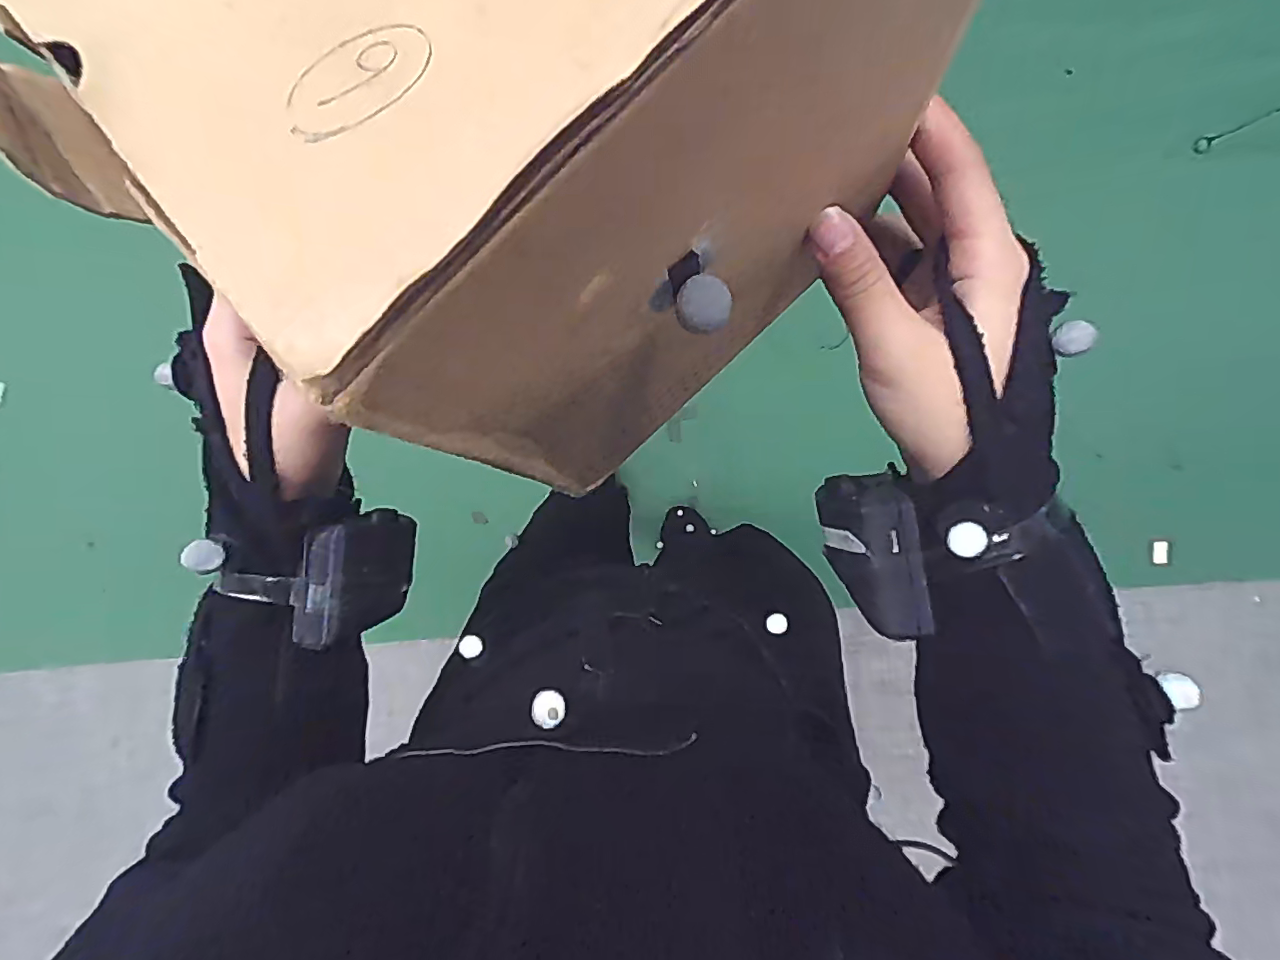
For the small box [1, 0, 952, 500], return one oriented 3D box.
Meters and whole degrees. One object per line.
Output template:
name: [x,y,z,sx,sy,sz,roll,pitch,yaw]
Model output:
small box: [-0.026,-0.109,0.189,0.179,0.176,0.168,-44,79,1]
